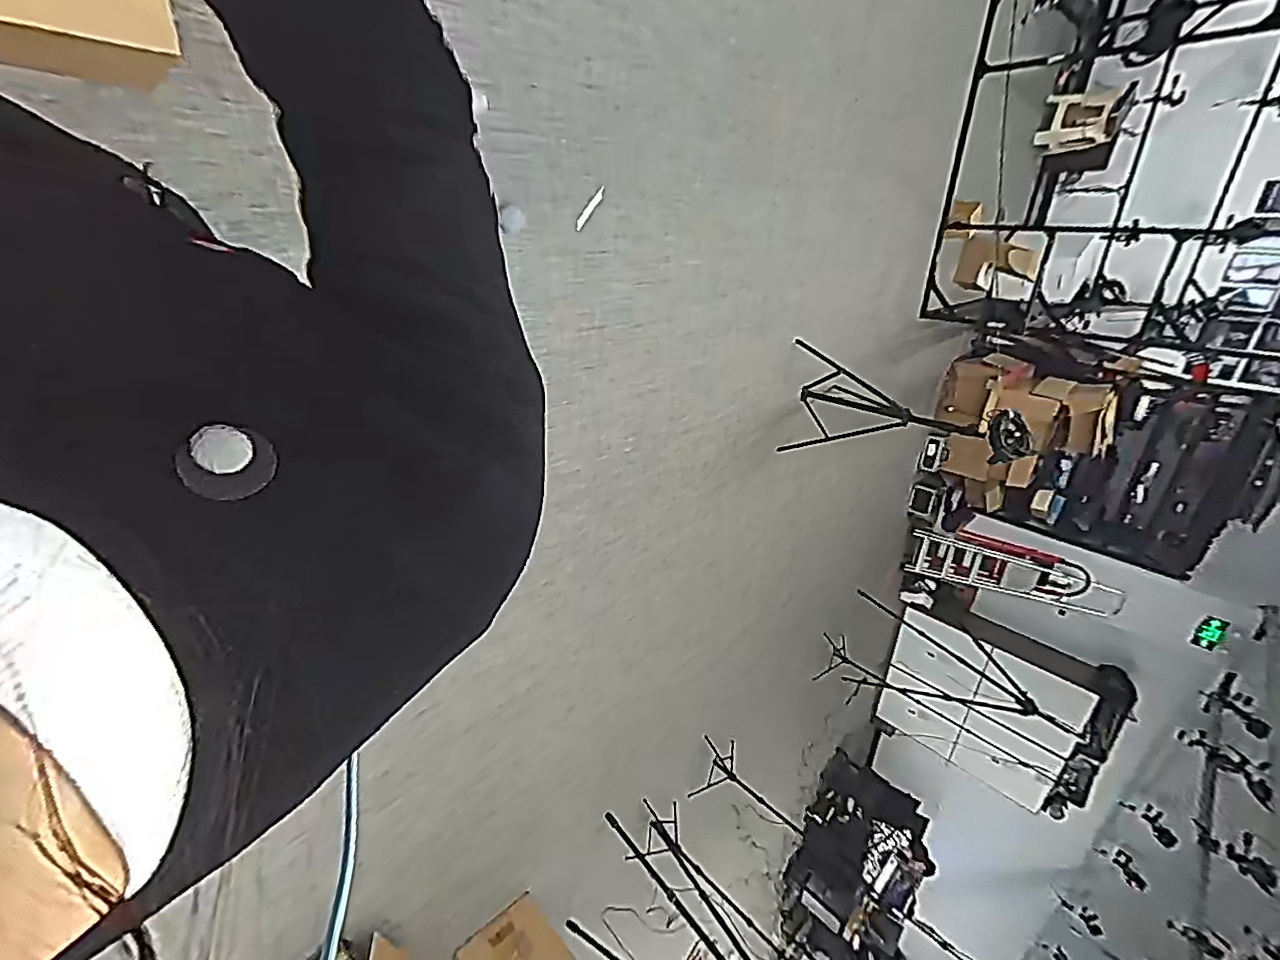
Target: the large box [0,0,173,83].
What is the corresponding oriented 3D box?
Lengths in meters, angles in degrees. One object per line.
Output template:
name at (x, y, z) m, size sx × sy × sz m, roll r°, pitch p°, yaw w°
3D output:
large box at (-0.919, -0.751, 0.688) m, size 0.408 × 0.320 × 0.320 m, roll -21°, pitch 123°, yaw -42°
